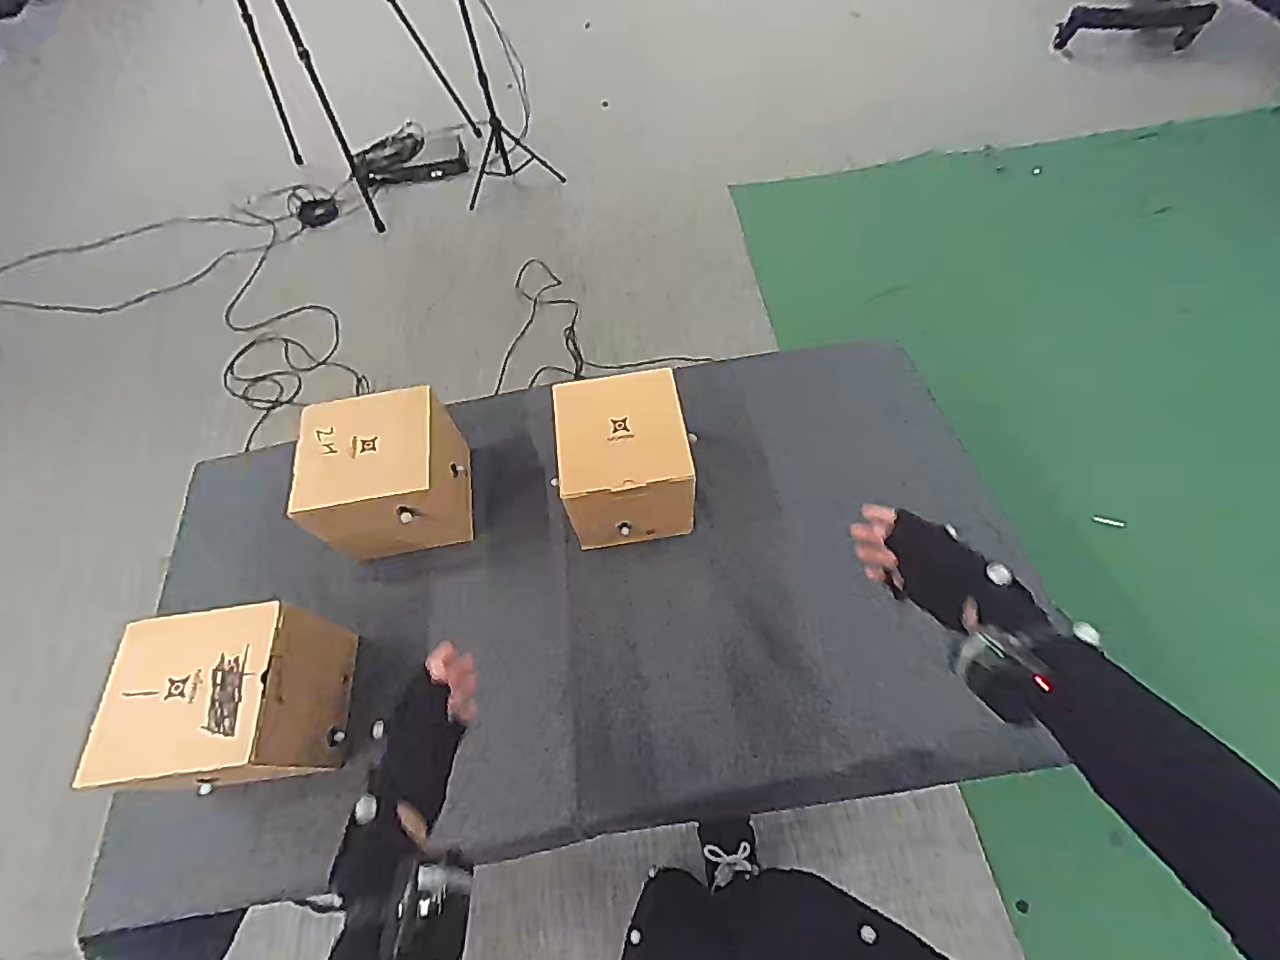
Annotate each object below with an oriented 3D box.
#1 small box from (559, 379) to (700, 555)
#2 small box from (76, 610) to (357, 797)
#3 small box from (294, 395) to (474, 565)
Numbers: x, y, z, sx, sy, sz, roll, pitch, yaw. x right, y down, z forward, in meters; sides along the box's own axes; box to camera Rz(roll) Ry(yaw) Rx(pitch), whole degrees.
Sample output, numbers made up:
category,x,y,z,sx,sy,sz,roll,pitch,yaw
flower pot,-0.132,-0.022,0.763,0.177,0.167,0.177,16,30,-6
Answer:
category,x,y,z,sx,sy,sz,roll,pitch,yaw
small box,-0.016,-0.013,0.761,0.168,0.176,0.179,-8,61,-2
small box,-0.462,0.263,0.629,0.179,0.176,0.168,-8,59,0
small box,-0.343,0.006,0.766,0.179,0.176,0.168,-10,61,-1
